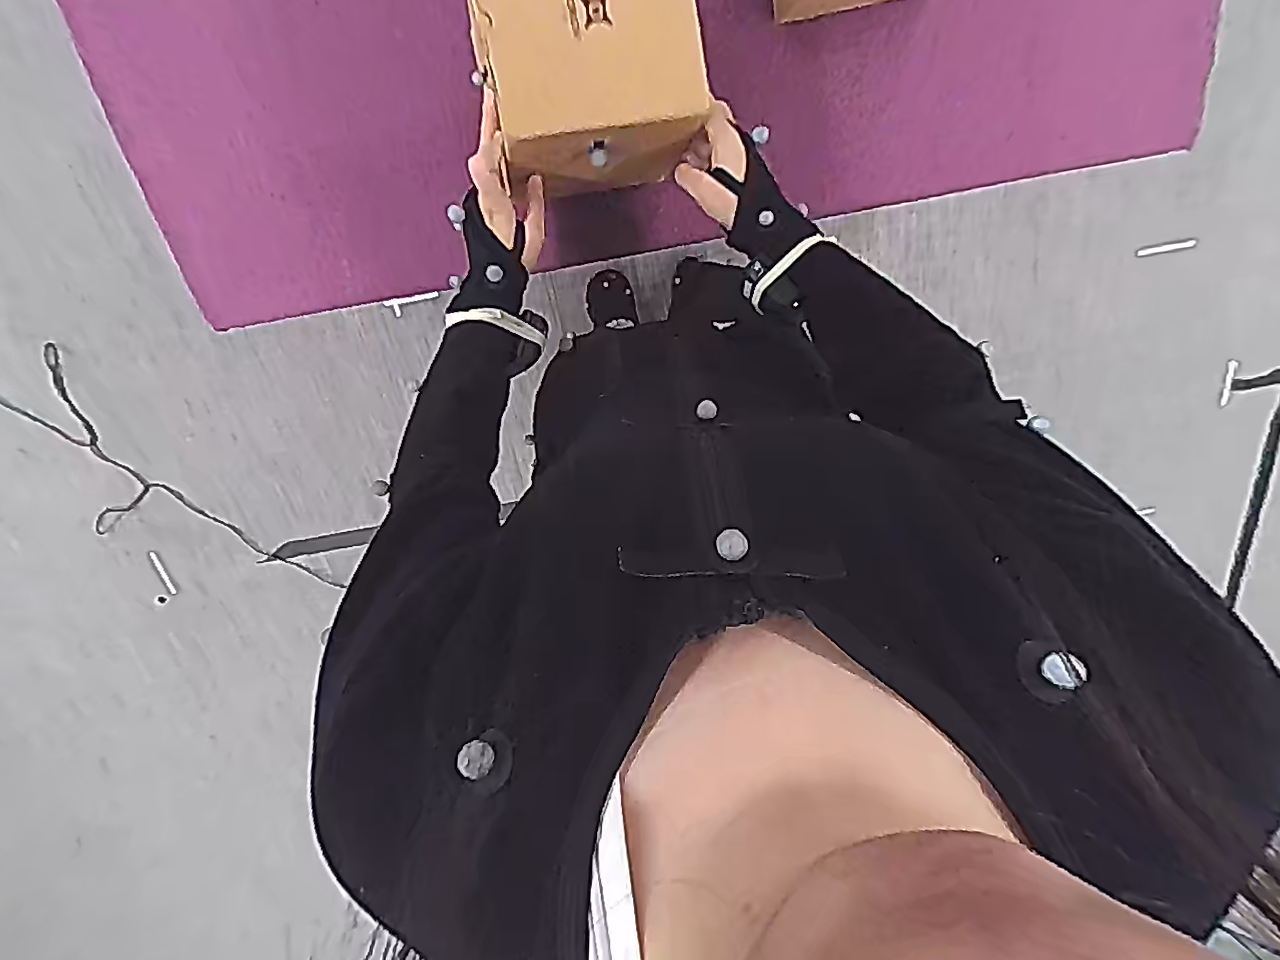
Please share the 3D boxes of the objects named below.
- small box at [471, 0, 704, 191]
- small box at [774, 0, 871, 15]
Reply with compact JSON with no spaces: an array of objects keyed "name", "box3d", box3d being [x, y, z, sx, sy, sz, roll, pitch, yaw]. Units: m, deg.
[{"name":"small box","box3d":[-0.056,-0.386,0.502,0.179,0.176,0.168,-12,107,-7]},{"name":"small box","box3d":[0.220,-0.555,0.473,0.179,0.176,0.168,-12,111,1]}]
